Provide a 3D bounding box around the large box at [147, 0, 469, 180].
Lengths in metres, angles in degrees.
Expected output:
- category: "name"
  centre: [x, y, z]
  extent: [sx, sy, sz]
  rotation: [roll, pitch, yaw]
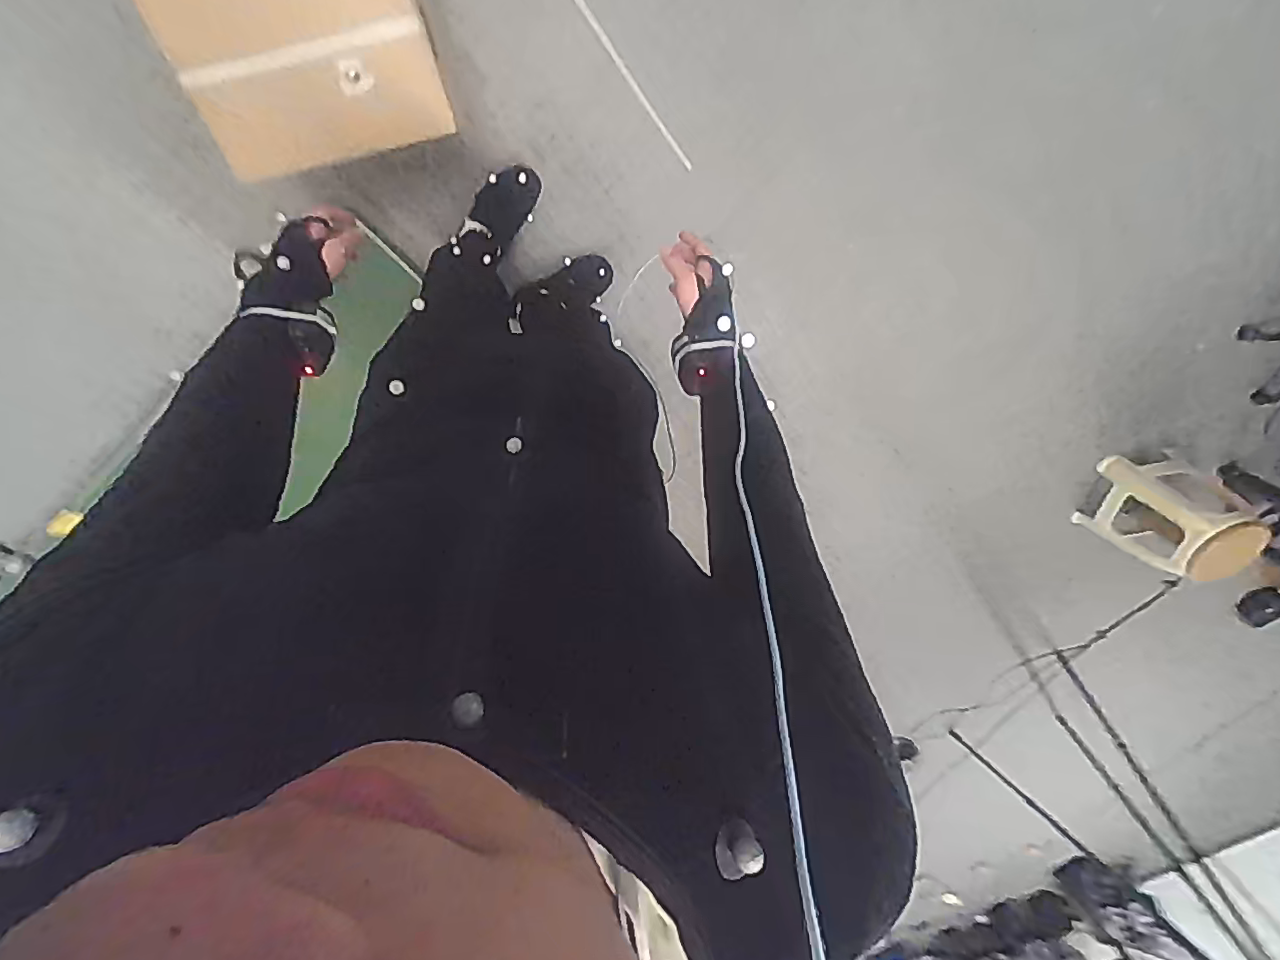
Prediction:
- category: "large box"
  centre: [-0.578, -0.795, 1.014]
  extent: [0.408, 0.320, 0.320]
  rotation: [-15, 127, -3]
